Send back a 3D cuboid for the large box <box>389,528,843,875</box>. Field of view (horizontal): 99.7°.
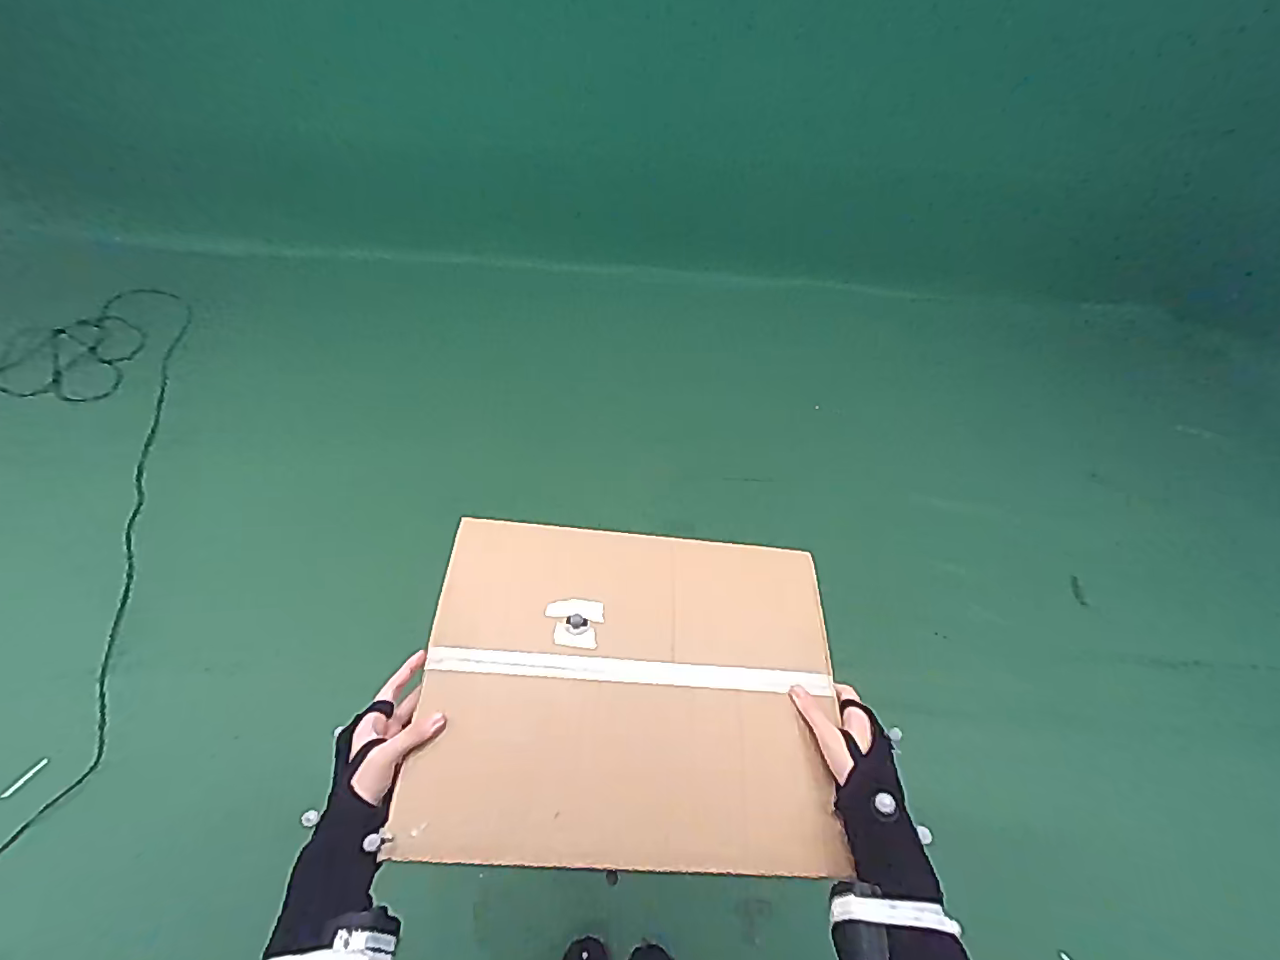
[{"bbox_3d":[-0.024,0.281,0.669,0.408,0.320,0.320,7,55,-5],"label":"large box"}]
